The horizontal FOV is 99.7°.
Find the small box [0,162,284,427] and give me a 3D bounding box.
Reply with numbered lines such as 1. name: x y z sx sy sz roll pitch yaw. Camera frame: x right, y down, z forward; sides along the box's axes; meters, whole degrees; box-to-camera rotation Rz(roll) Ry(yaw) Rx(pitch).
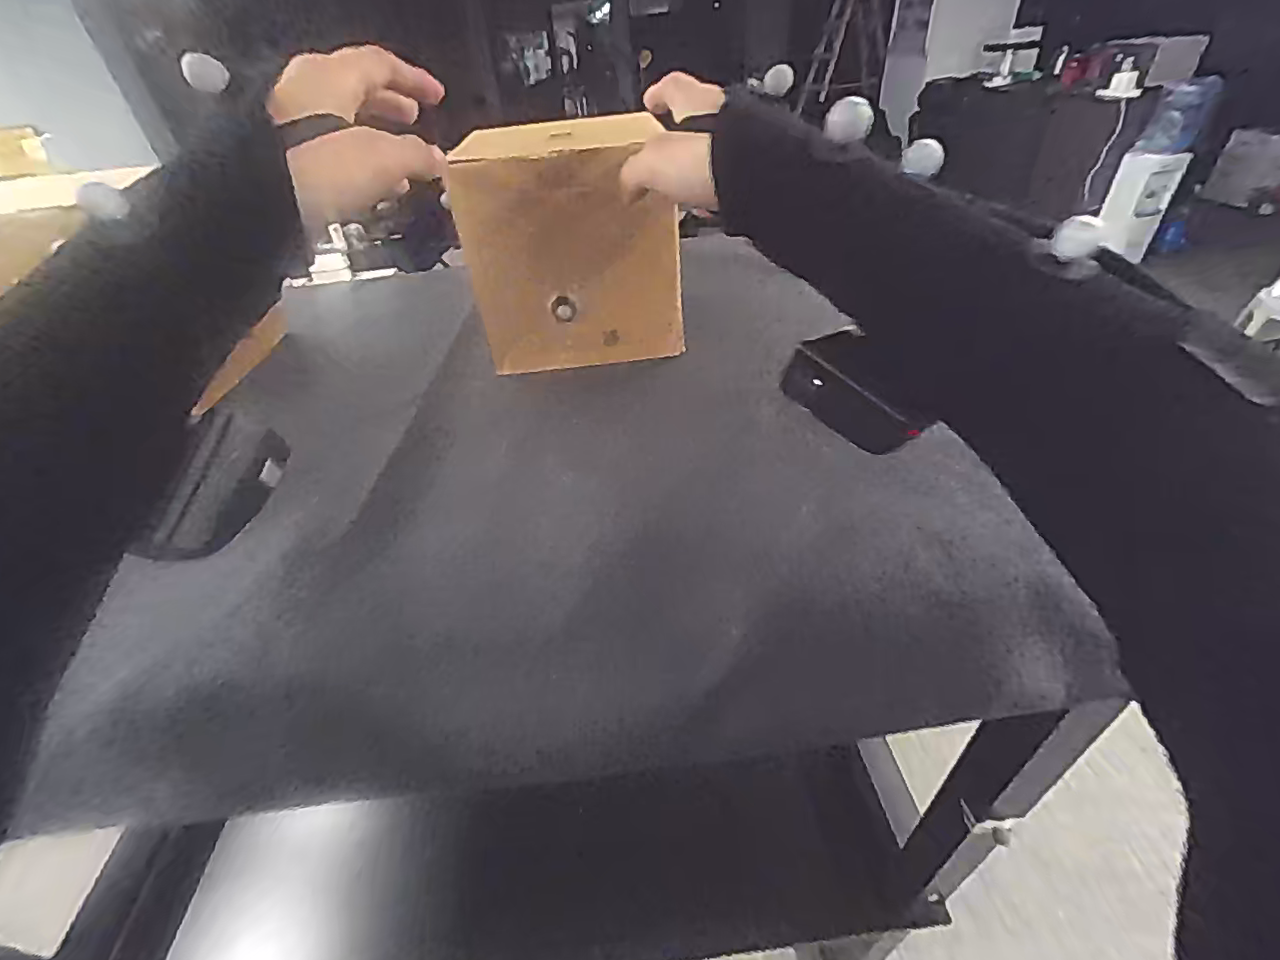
1. small box: -0.456 -0.157 0.469 0.168 0.176 0.179 -5 40 0

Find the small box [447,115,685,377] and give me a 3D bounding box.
1. small box: -0.053 -0.211 0.484 0.168 0.176 0.179 -7 40 -1
